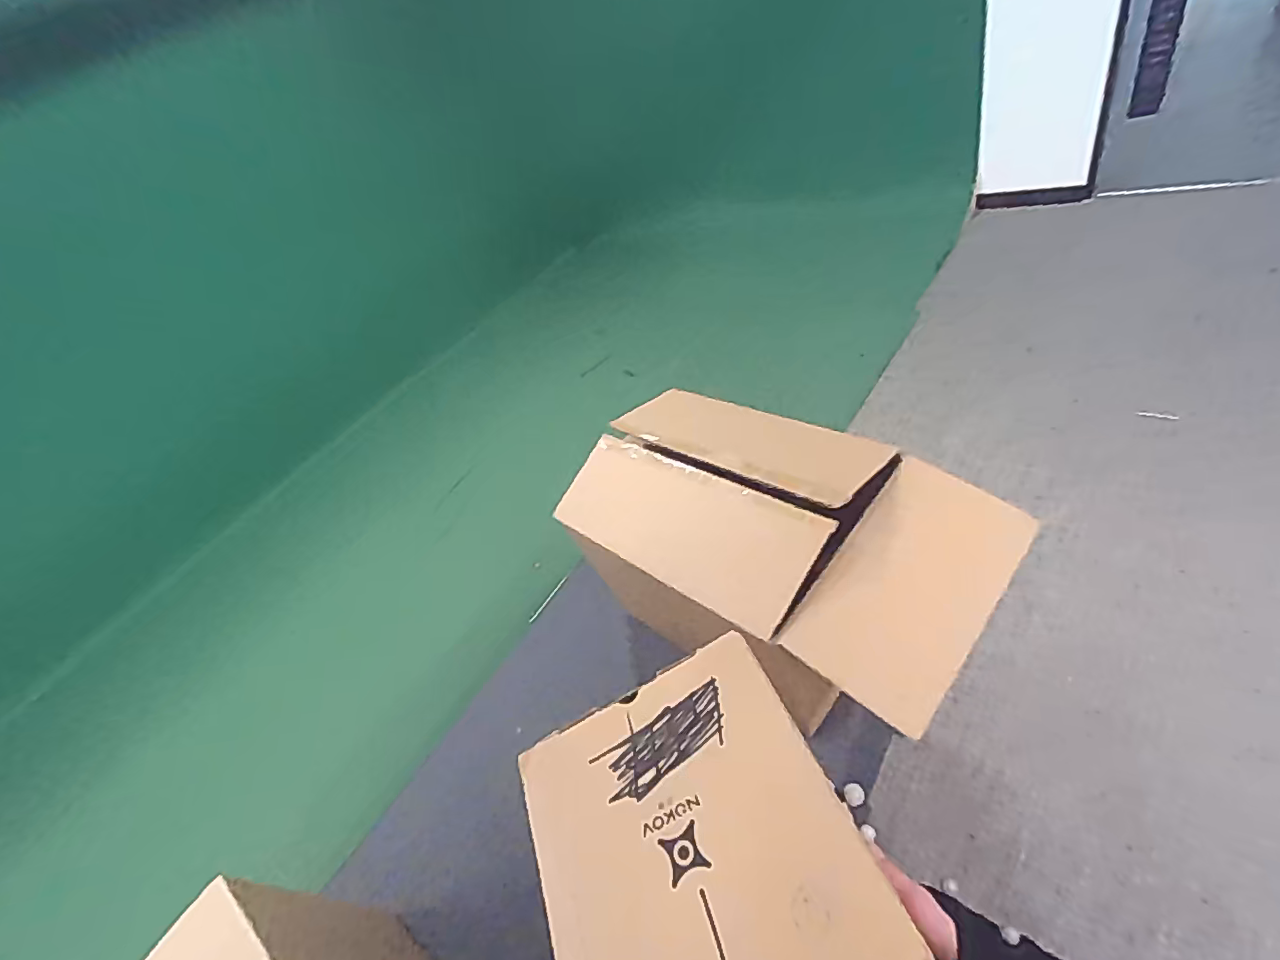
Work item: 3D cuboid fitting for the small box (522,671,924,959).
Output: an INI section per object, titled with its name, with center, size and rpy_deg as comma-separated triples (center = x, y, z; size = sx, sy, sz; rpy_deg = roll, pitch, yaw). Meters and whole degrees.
[small box]
center = 0.056, 0.254, 0.320
size = 0.168, 0.176, 0.179
rpy_deg = -31, 45, 1
